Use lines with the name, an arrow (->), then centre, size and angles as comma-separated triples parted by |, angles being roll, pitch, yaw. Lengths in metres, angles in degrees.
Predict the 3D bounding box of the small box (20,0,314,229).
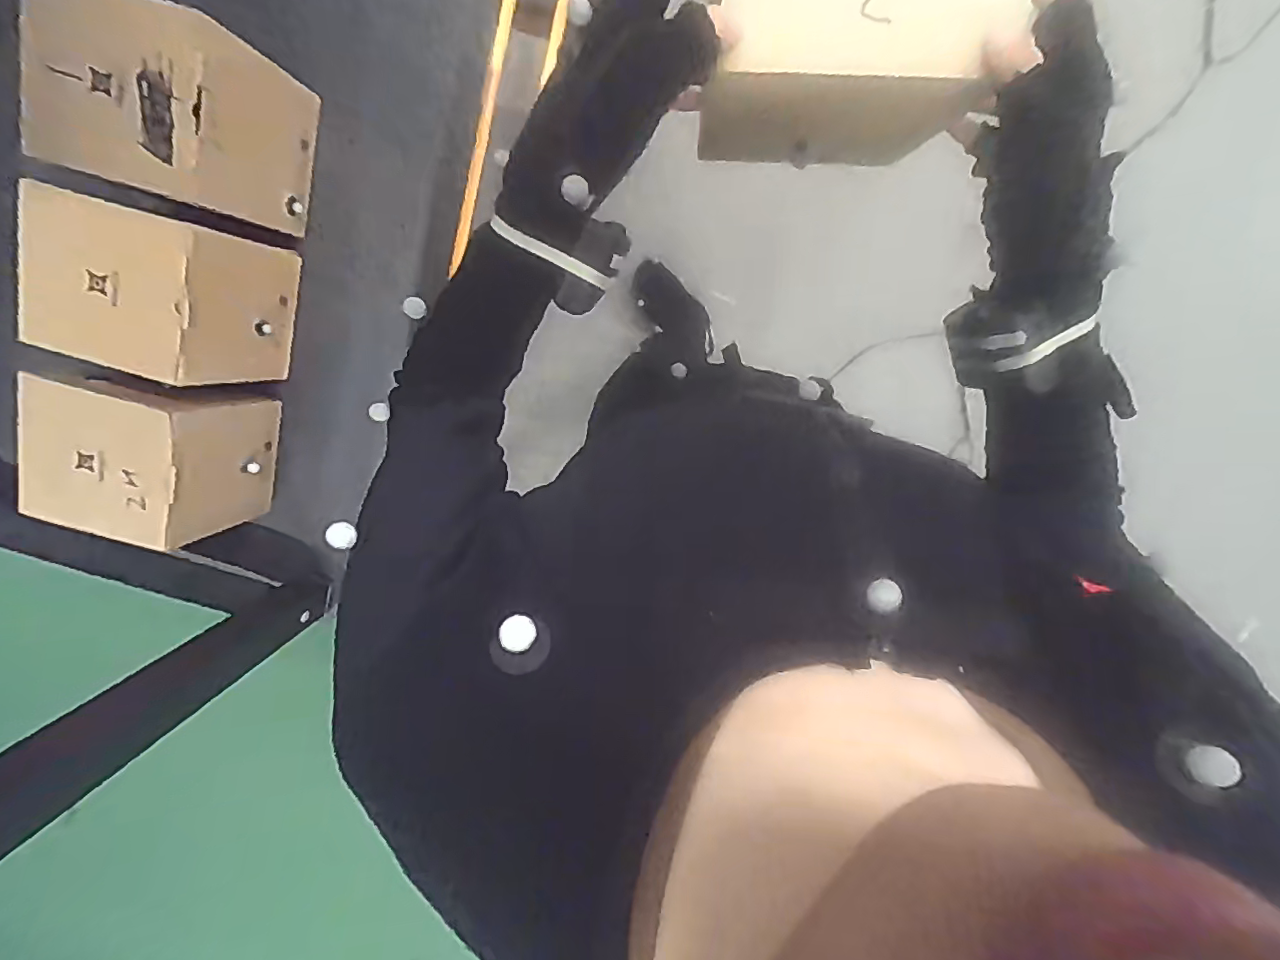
small box -> -0.490, -0.388, 0.583 | 0.179, 0.176, 0.168 | 16, 103, 1

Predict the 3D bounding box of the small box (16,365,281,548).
small box -> -0.593, -0.038, 0.669 | 0.179, 0.176, 0.168 | 15, 104, 0
